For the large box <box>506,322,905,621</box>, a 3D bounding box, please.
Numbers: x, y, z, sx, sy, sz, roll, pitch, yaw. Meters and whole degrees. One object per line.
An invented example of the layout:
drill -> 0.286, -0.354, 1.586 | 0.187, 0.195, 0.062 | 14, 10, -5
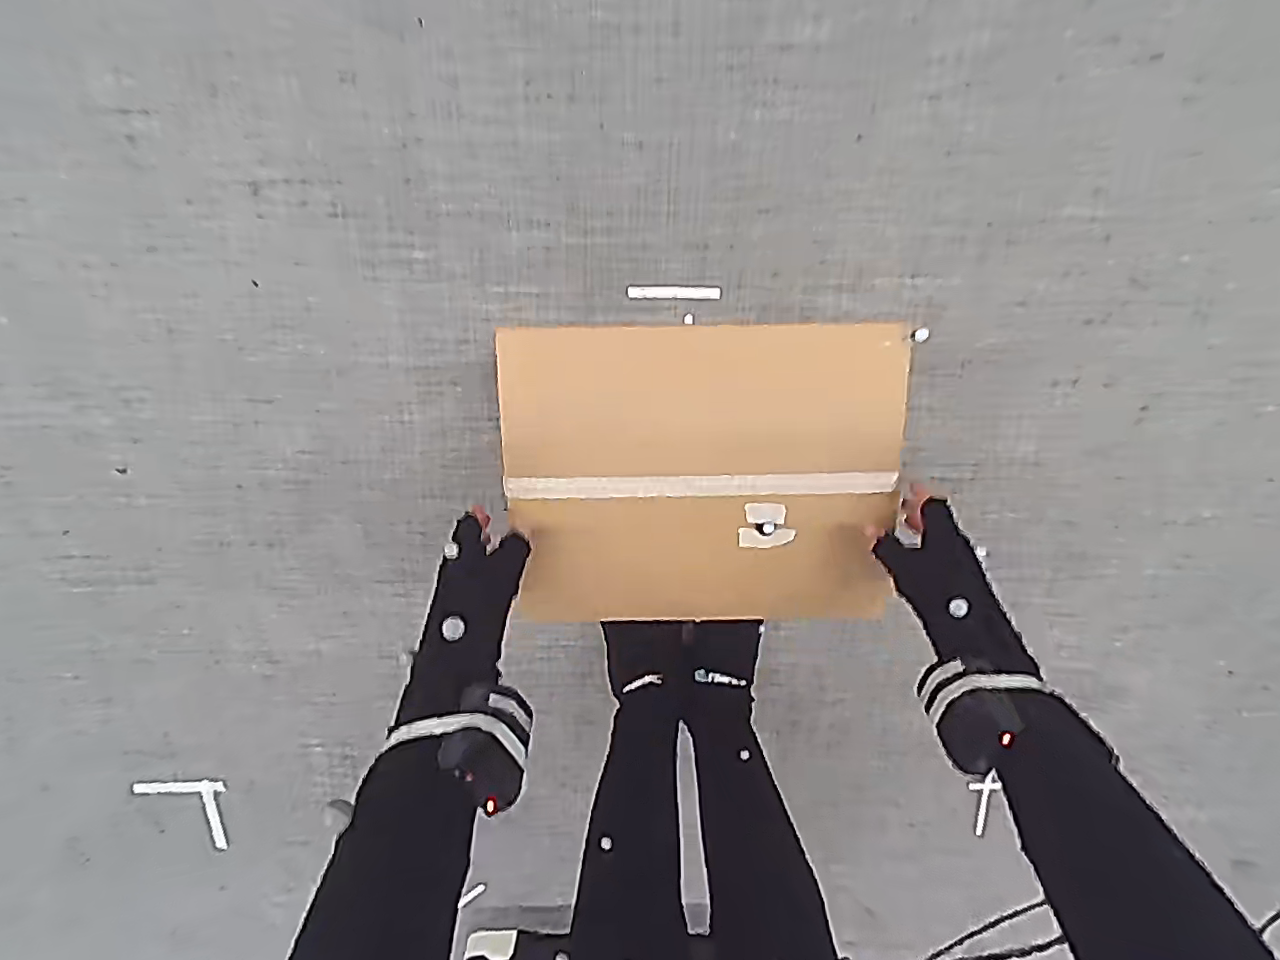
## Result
large box -> 0.067, -0.032, 0.712 | 0.408, 0.320, 0.320 | -1, 104, 0
